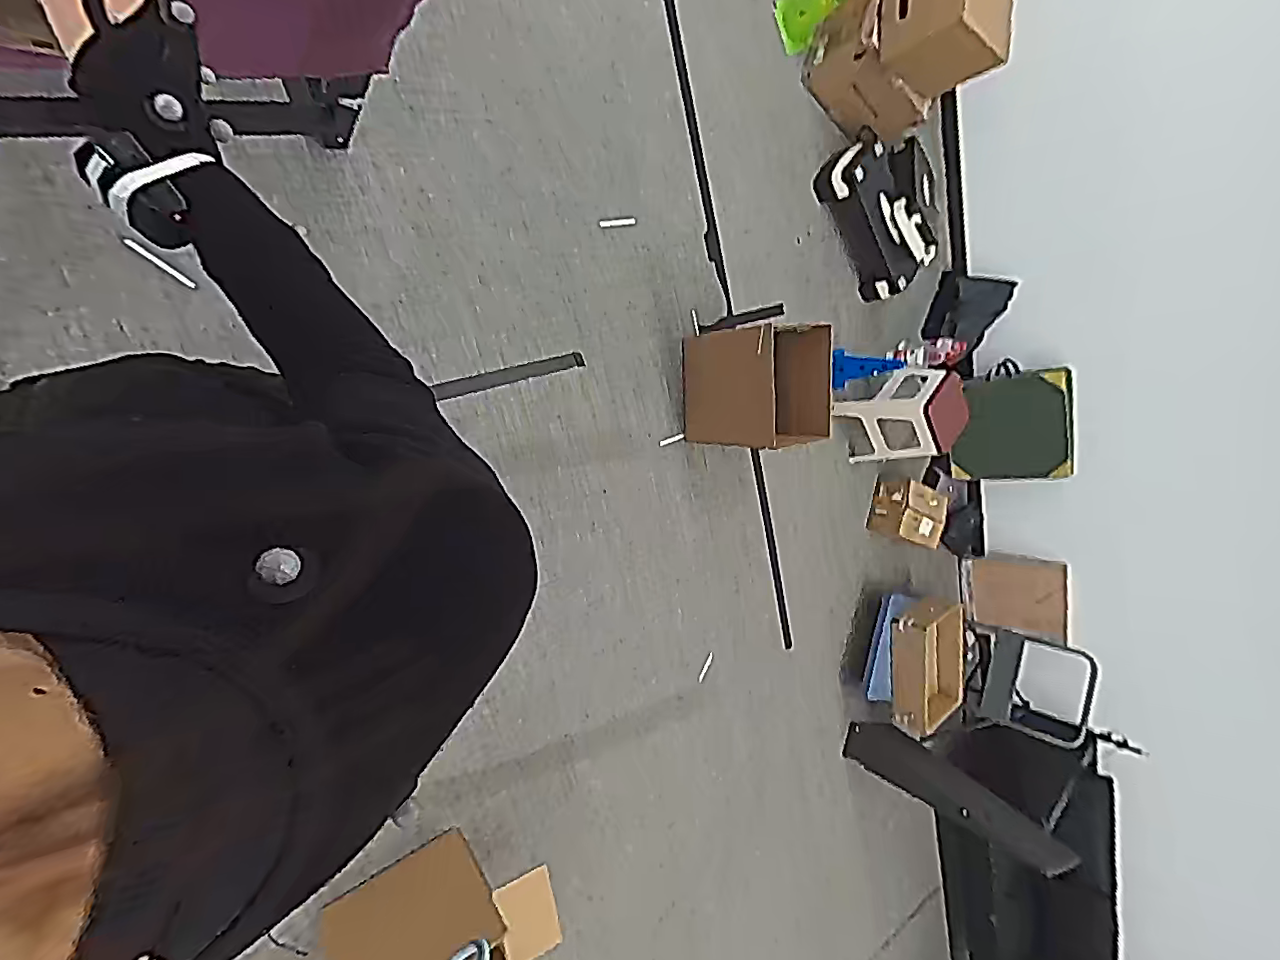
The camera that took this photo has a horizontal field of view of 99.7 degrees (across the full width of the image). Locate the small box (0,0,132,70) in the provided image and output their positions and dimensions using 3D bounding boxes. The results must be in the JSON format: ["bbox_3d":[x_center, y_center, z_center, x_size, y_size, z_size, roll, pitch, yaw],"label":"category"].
[{"bbox_3d":[-0.496,-0.439,0.381,0.168,0.176,0.179,-15,109,-36],"label":"small box"}]
